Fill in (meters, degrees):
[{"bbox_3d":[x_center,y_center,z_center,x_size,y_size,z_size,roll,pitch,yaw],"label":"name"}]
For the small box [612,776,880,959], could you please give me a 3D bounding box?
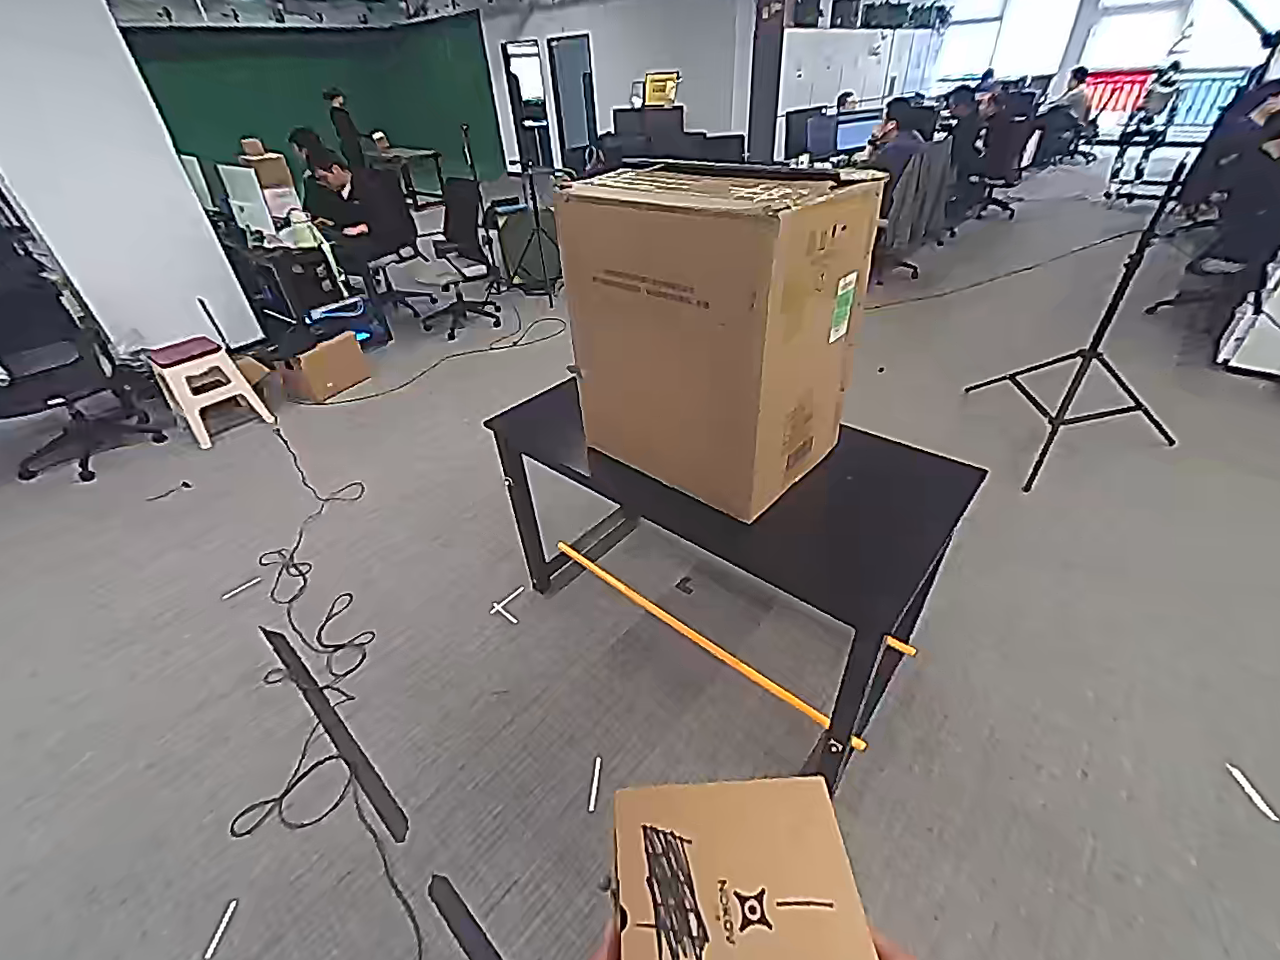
[{"bbox_3d":[0.067,0.357,0.428,0.179,0.176,0.168,-1,42,-5],"label":"small box"}]
